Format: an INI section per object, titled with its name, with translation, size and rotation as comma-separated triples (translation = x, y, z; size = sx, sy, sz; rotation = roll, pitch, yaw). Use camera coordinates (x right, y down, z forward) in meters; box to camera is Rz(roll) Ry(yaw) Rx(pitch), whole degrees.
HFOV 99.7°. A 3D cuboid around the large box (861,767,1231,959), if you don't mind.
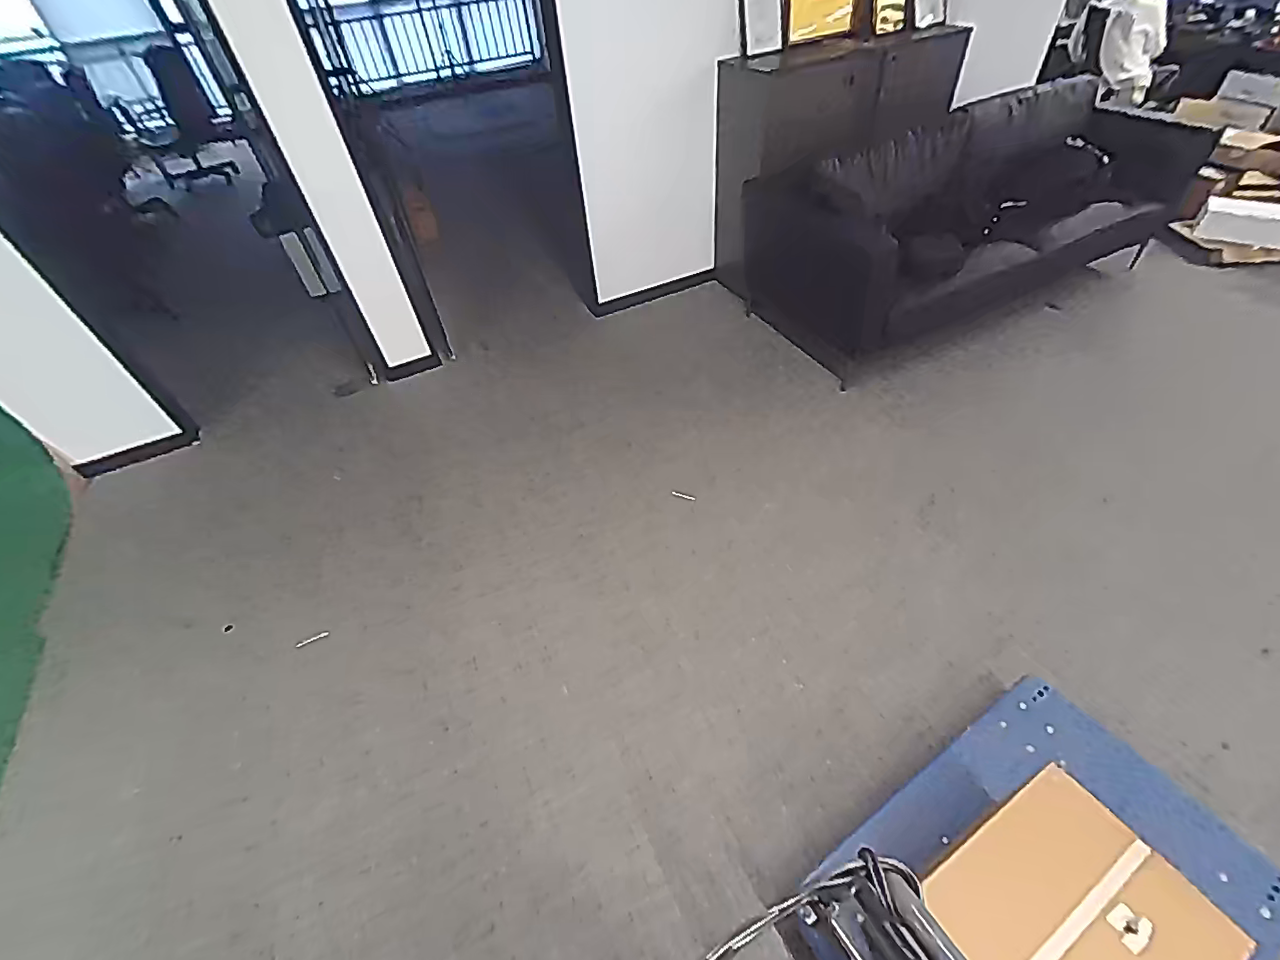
[large box]
translation = 0.676, 0.815, 0.962
size = 0.408, 0.320, 0.320
rotation = -25, 49, -19
